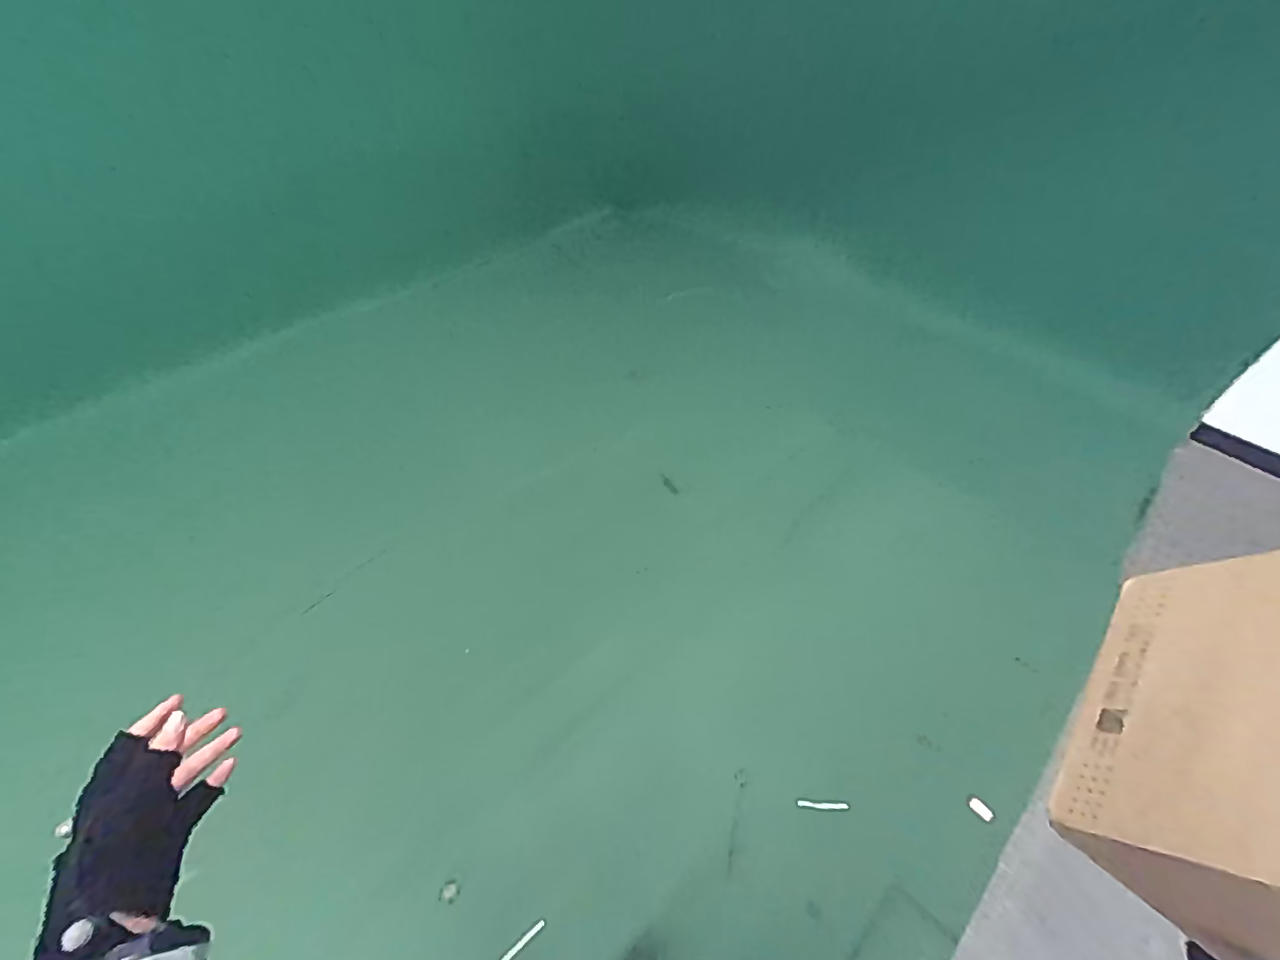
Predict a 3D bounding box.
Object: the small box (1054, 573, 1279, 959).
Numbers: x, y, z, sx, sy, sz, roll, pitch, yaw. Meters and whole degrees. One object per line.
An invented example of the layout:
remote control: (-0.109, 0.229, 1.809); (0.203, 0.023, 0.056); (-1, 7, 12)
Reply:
small box: (0.336, 0.145, 0.223); (0.179, 0.176, 0.168); (39, 68, 5)
